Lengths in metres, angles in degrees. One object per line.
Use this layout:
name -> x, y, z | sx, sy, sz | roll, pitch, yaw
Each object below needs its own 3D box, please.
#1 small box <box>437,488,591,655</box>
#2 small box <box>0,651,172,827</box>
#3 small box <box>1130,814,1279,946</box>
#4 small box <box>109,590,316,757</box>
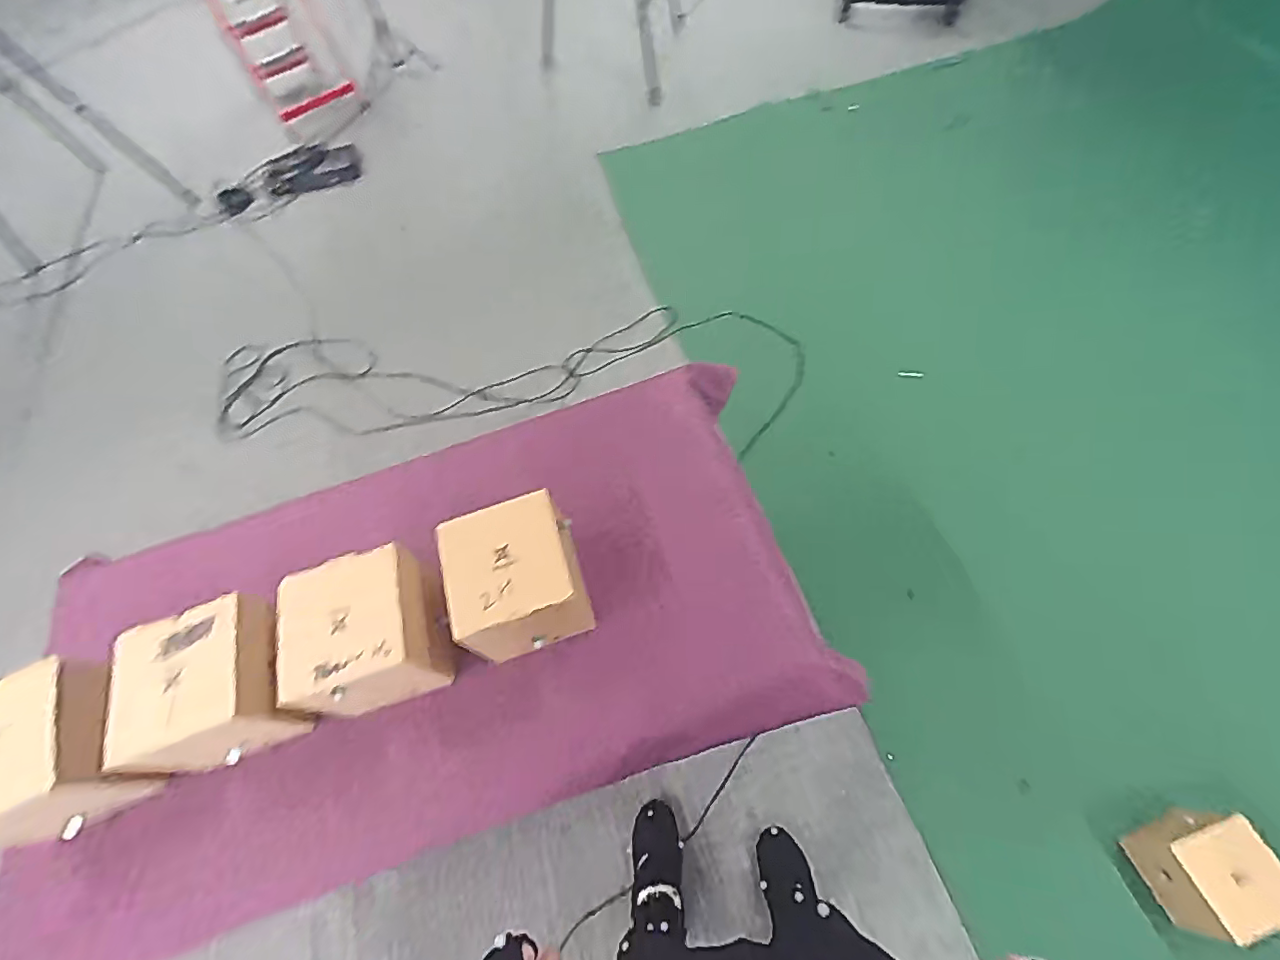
small box -> -0.183, 0.143, 0.814 | 0.168, 0.176, 0.179 | -19, 62, -2
small box -> -0.817, 0.373, 0.773 | 0.168, 0.176, 0.179 | -24, 63, -5
small box -> 1.175, 0.811, 1.113 | 0.179, 0.176, 0.168 | -19, 61, -4
small box -> -0.606, 0.288, 0.791 | 0.168, 0.176, 0.179 | -20, 63, -4
